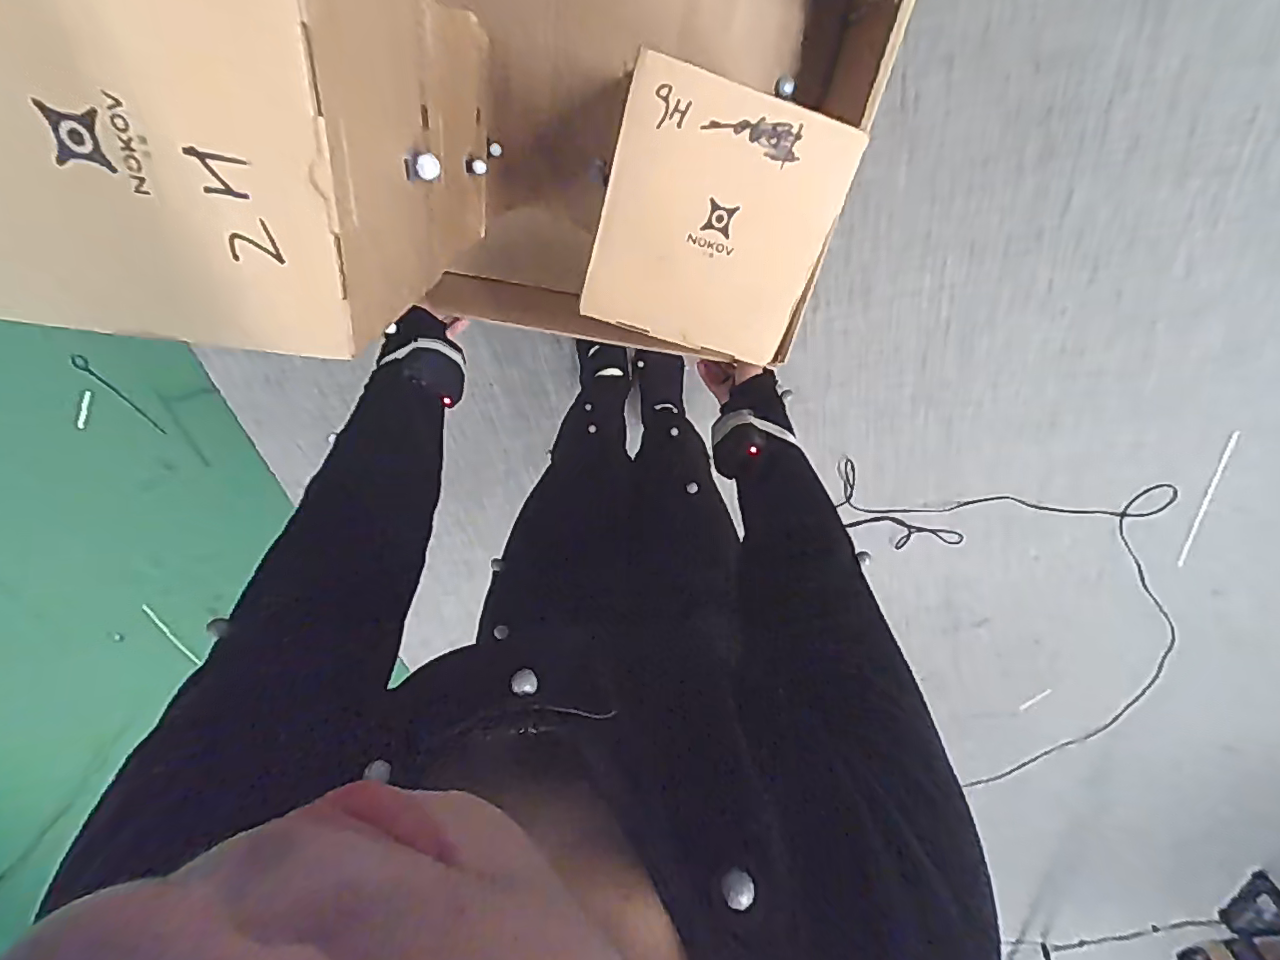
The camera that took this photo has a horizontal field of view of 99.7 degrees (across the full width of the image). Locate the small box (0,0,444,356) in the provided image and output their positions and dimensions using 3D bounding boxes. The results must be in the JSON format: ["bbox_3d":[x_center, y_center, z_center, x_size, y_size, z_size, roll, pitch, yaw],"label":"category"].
[{"bbox_3d":[-0.217,-0.184,0.287,0.179,0.176,0.168,6,124,-8],"label":"small box"}]

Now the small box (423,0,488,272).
[{"bbox_3d":[-0.225,-0.279,0.422,0.179,0.176,0.168,7,124,-8],"label":"small box"}]
